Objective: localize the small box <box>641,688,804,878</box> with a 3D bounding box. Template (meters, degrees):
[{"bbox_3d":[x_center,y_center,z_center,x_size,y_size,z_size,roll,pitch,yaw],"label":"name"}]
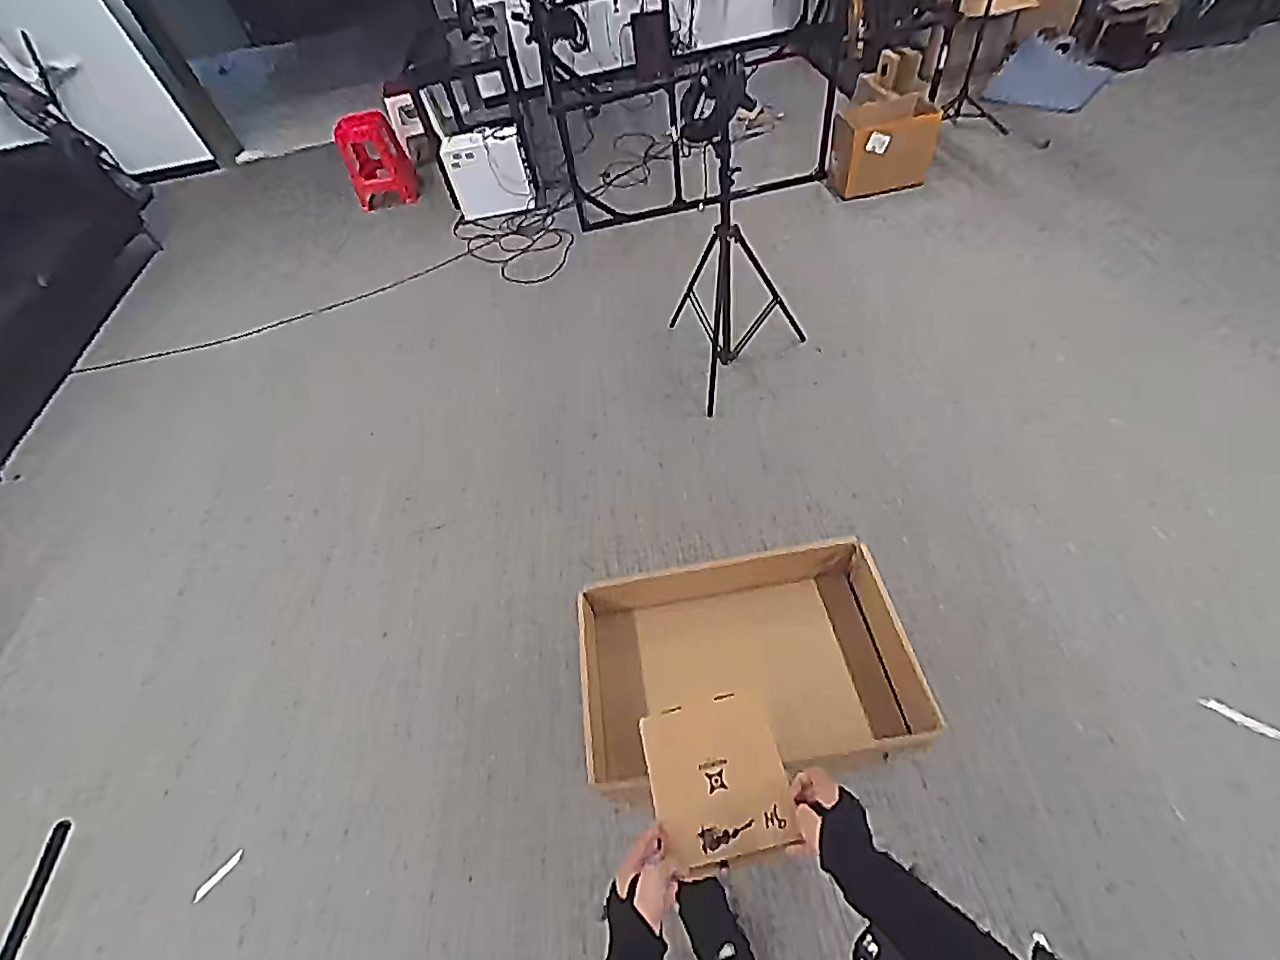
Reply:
[{"bbox_3d":[0.108,0.413,0.734,0.168,0.176,0.179,-17,50,1],"label":"small box"}]
